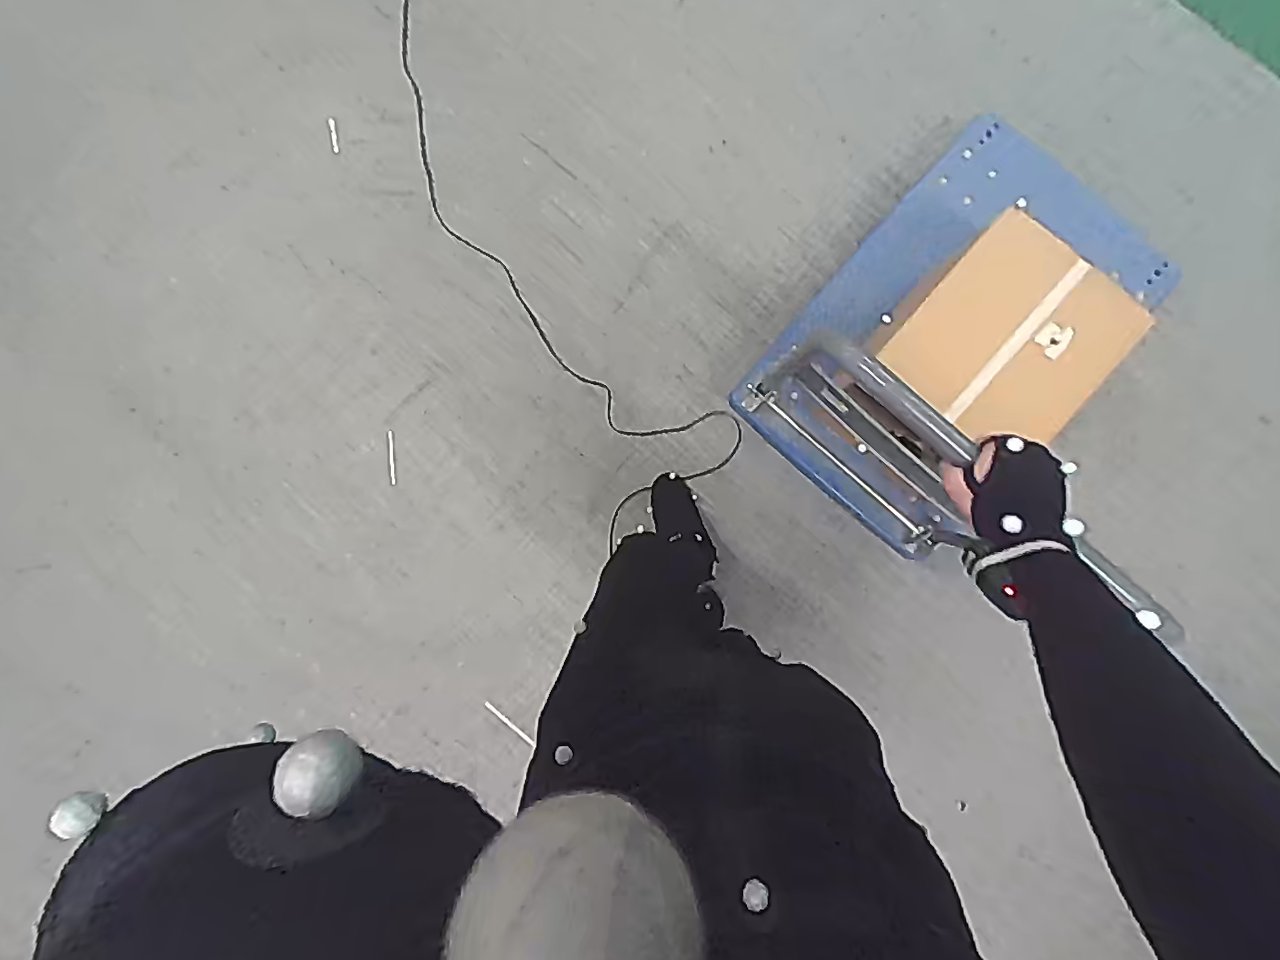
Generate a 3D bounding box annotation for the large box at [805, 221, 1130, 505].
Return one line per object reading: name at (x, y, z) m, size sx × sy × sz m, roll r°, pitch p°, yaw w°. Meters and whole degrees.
large box at (0.602, -0.196, 1.077) m, size 0.320 × 0.320 × 0.408 m, roll 41°, pitch 90°, yaw 2°
